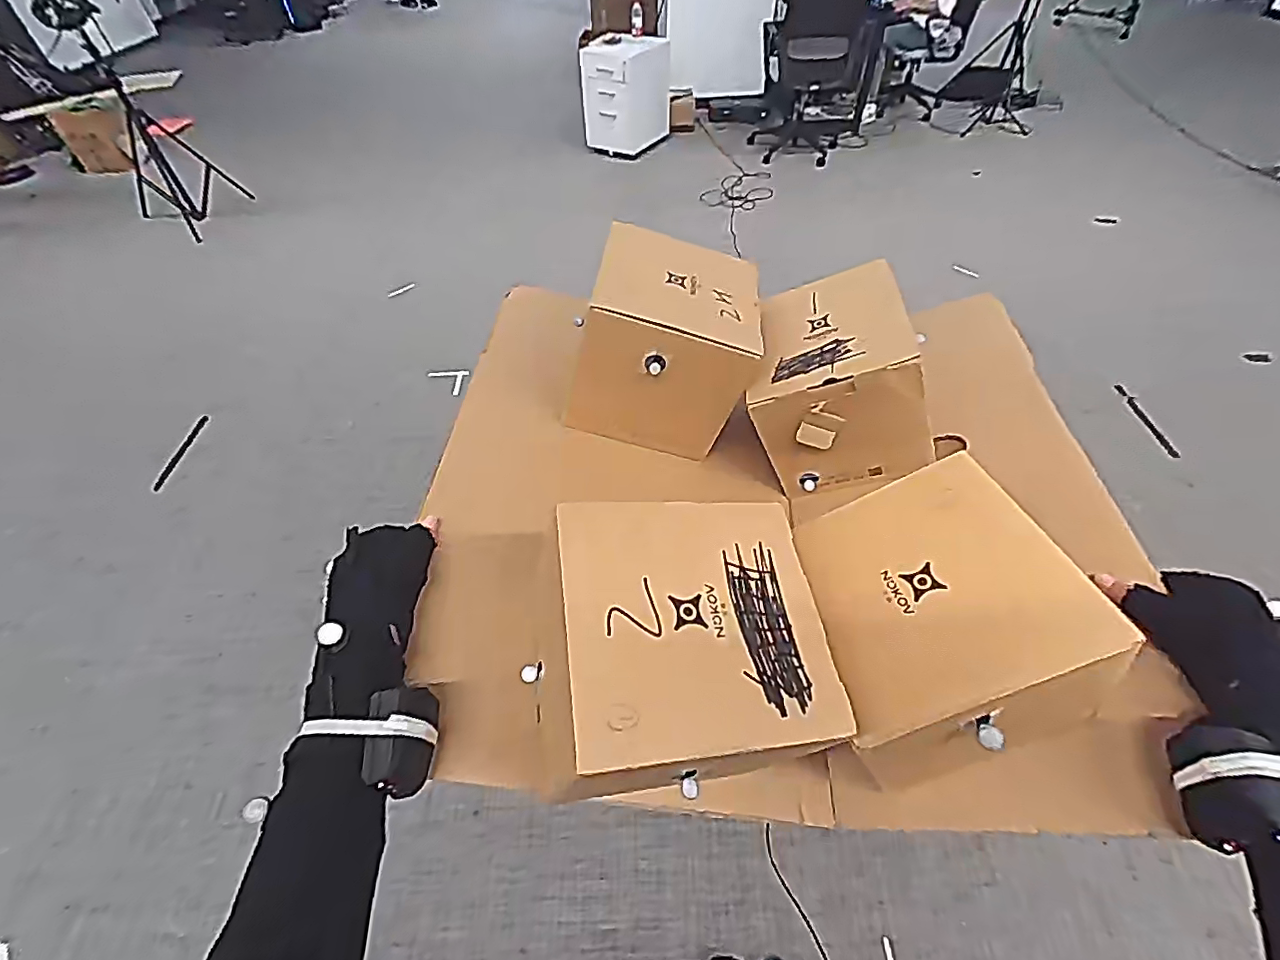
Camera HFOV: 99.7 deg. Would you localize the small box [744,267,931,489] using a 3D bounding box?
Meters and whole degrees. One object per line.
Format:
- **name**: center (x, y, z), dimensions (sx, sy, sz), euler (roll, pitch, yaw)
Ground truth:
- **small box**: center (0.227, -0.106, 0.631), dimensions (0.168, 0.176, 0.179), euler (-13, 46, 24)
